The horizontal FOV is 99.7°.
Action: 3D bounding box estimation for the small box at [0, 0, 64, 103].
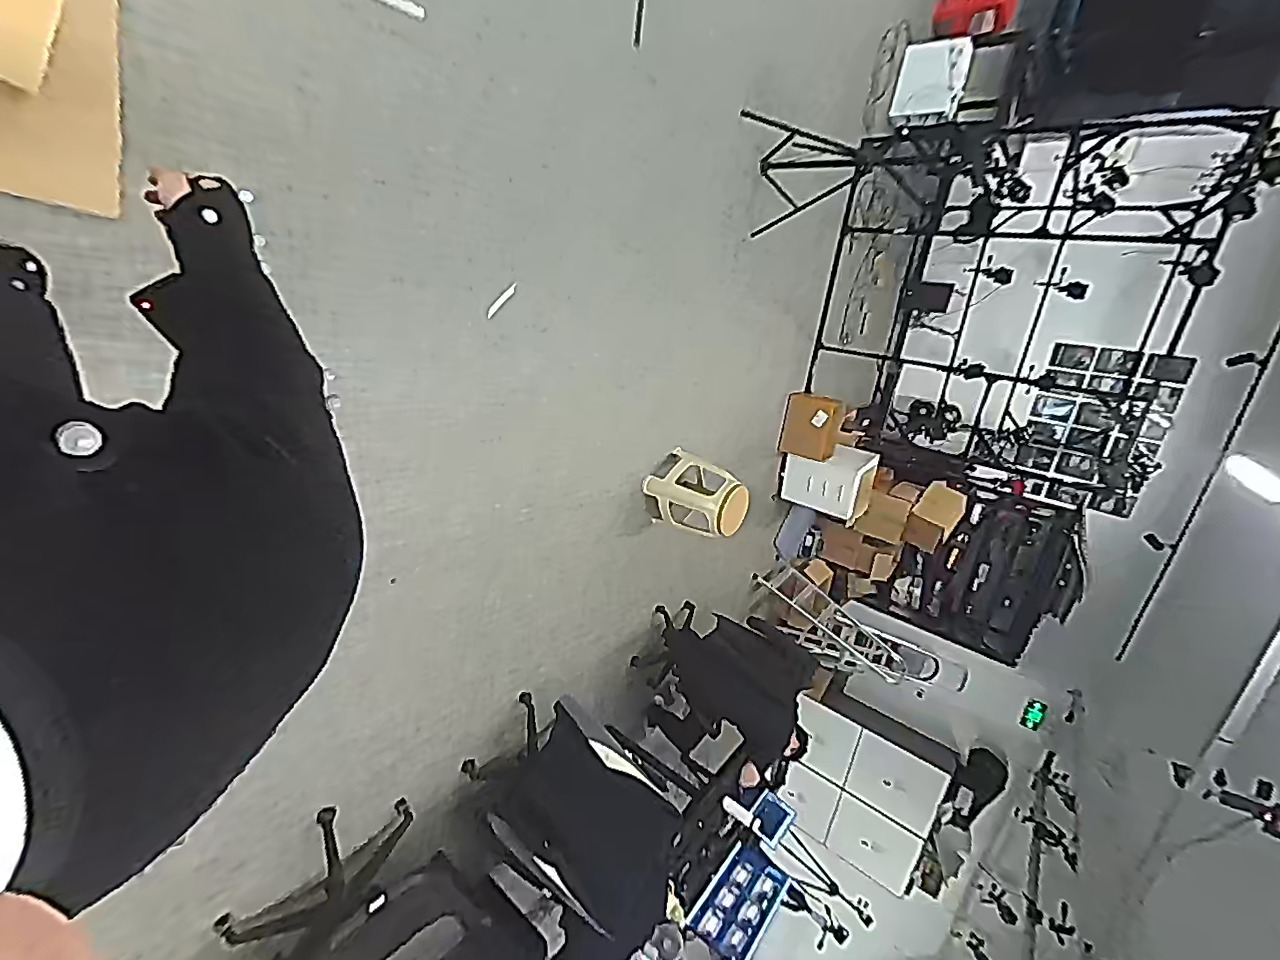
[{"bbox_3d":[-1.064,-0.729,0.847,0.179,0.176,0.168,15,94,-55],"label":"small box"}]
